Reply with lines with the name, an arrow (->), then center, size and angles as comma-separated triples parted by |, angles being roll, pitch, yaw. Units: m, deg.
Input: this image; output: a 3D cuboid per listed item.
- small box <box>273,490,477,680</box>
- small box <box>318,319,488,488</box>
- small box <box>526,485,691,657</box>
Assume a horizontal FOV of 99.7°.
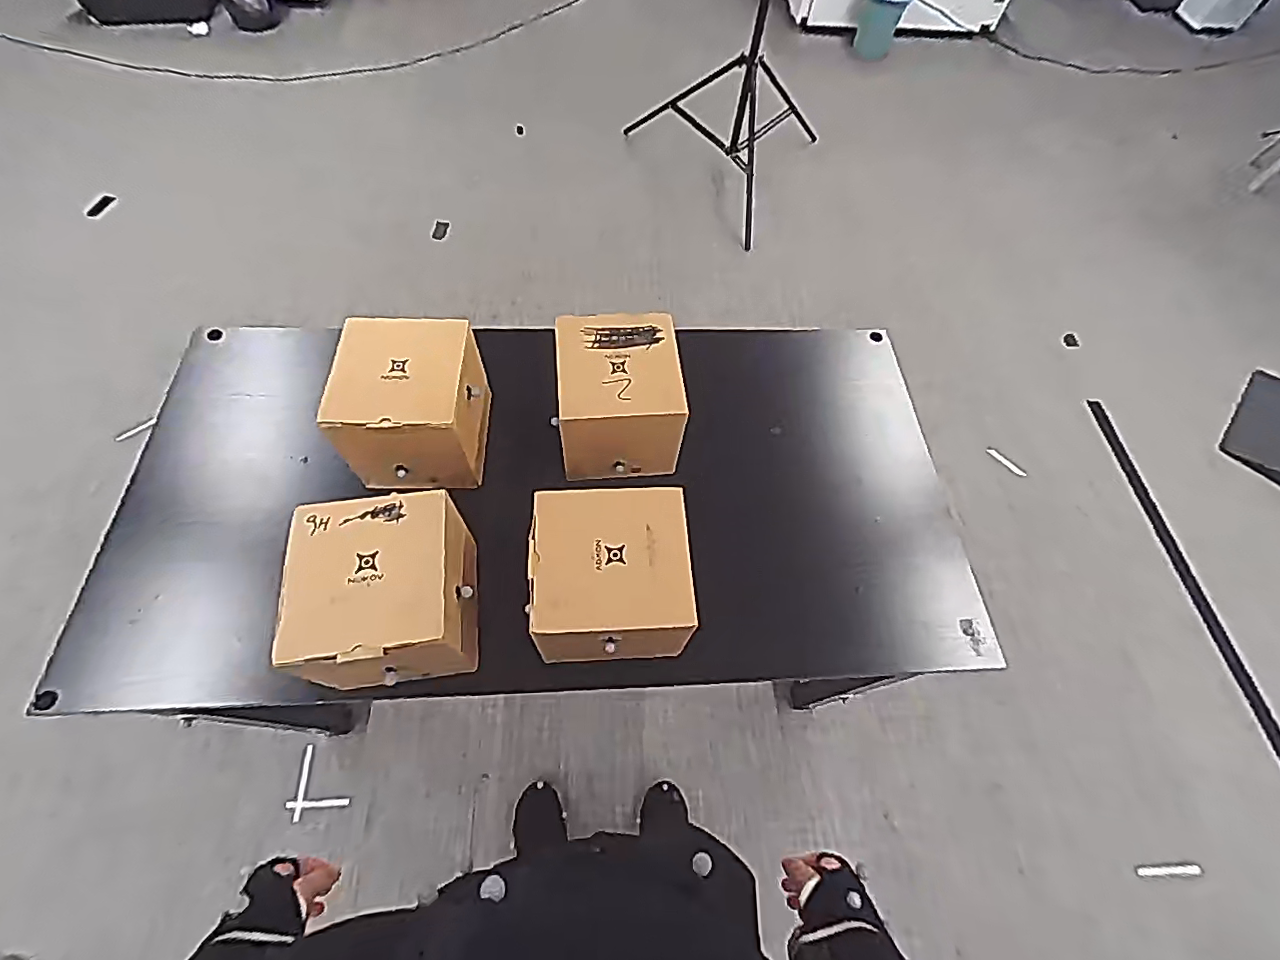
small box -> -0.295, 0.133, 0.644 | 0.168, 0.176, 0.179 | -7, 62, -7
small box -> -0.320, -0.104, 0.773 | 0.168, 0.176, 0.179 | 0, 62, -4
small box -> -0.040, 0.118, 0.670 | 0.179, 0.176, 0.168 | -2, 62, -5
